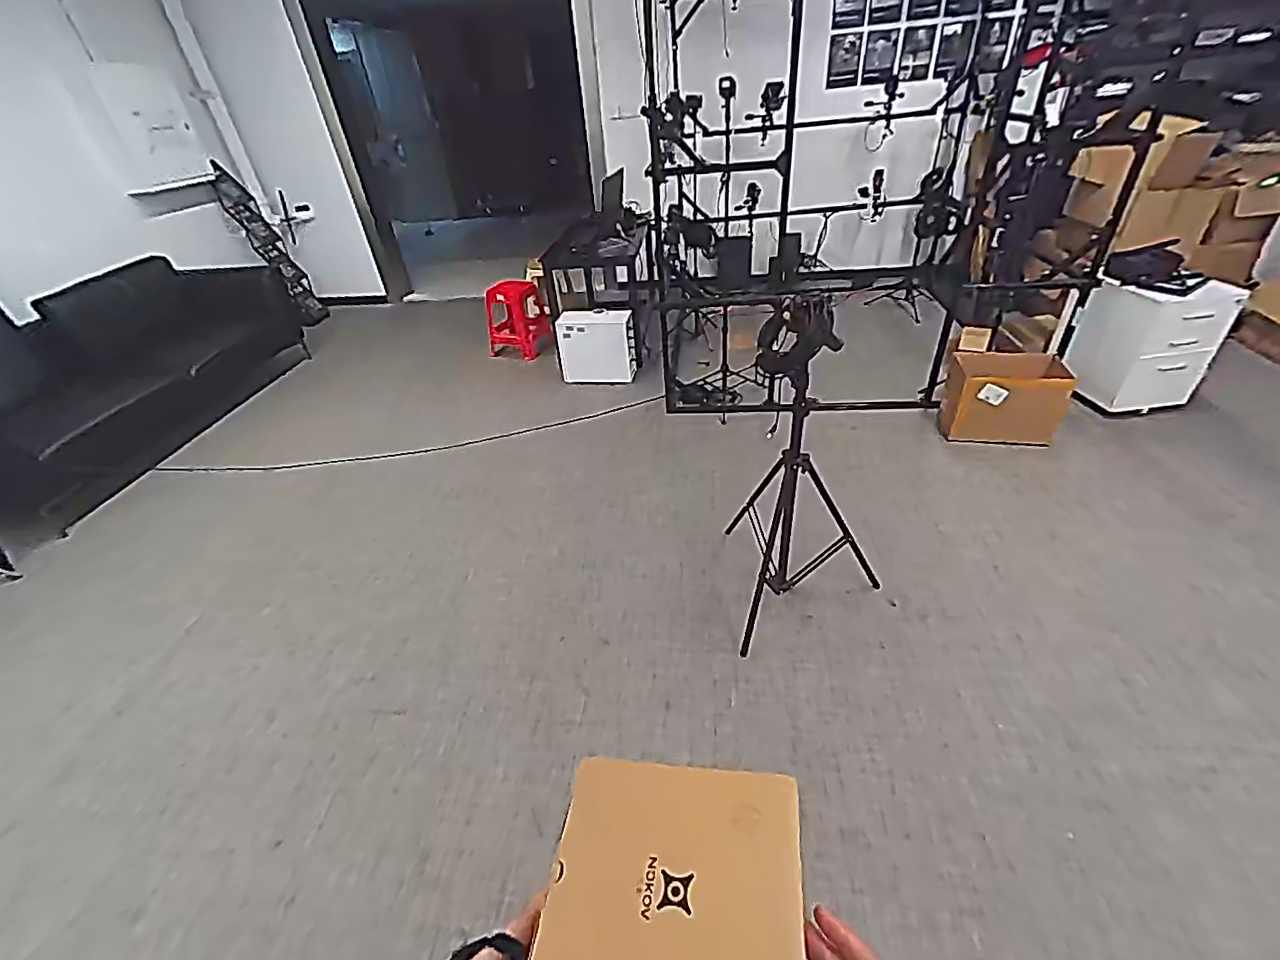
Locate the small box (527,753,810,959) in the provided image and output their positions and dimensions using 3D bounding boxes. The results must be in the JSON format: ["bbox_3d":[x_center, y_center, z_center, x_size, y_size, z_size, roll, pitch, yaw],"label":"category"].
[{"bbox_3d":[0.036,0.334,0.408,0.179,0.176,0.168,-4,37,15],"label":"small box"}]
